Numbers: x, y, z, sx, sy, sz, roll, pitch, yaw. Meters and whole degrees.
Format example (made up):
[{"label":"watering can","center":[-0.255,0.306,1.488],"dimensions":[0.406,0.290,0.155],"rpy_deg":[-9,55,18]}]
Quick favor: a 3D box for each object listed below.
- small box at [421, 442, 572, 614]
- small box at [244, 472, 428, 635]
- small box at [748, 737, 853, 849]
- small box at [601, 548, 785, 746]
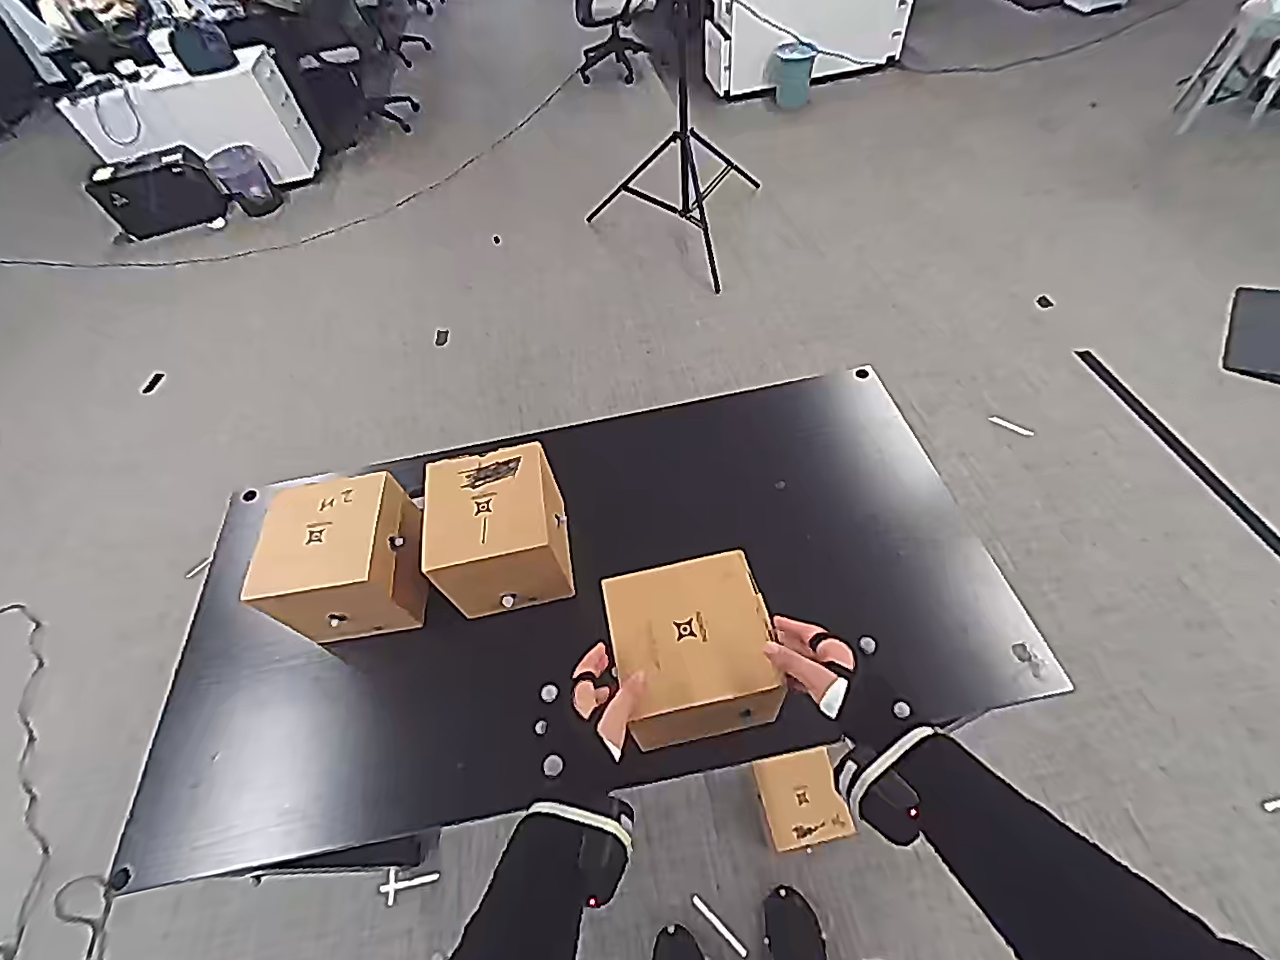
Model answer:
[{"label":"small box","center":[-0.203,0.073,0.796],"dimensions":[0.168,0.176,0.179],"rpy_deg":[-12,55,-1]},{"label":"small box","center":[-0.423,0.115,0.795],"dimensions":[0.168,0.176,0.179],"rpy_deg":[-9,54,0]},{"label":"small box","center":[0.340,0.690,1.188],"dimensions":[0.168,0.176,0.179],"rpy_deg":[-13,54,-1]},{"label":"small box","center":[0.061,0.210,0.667],"dimensions":[0.179,0.176,0.168],"rpy_deg":[-14,53,-1]}]
